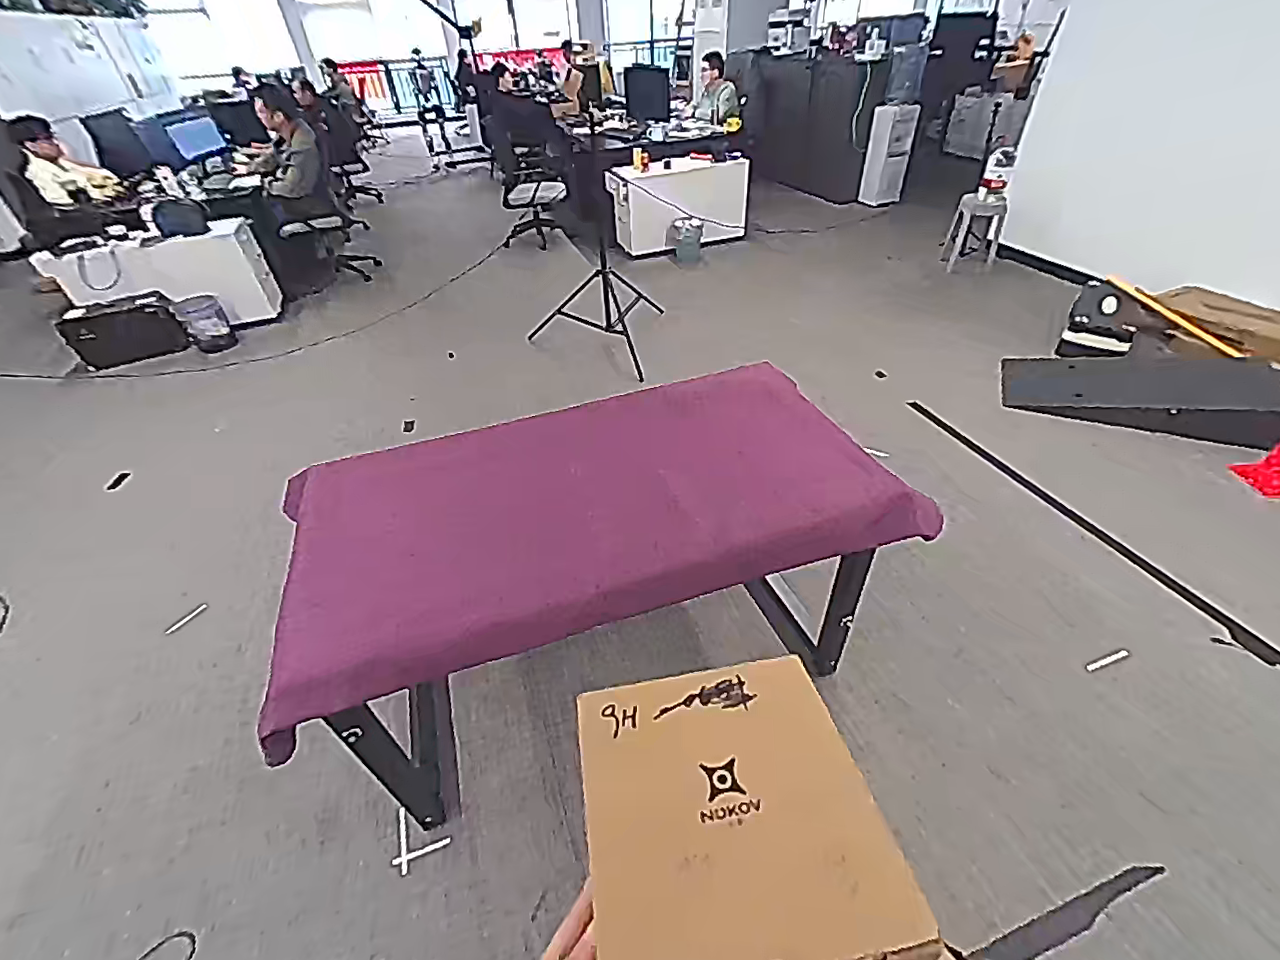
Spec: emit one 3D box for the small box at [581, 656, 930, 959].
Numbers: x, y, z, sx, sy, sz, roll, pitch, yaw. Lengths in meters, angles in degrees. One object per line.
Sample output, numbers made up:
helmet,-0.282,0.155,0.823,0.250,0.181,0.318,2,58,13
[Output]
small box,0.054,0.254,0.365,0.168,0.176,0.179,-7,33,-6
